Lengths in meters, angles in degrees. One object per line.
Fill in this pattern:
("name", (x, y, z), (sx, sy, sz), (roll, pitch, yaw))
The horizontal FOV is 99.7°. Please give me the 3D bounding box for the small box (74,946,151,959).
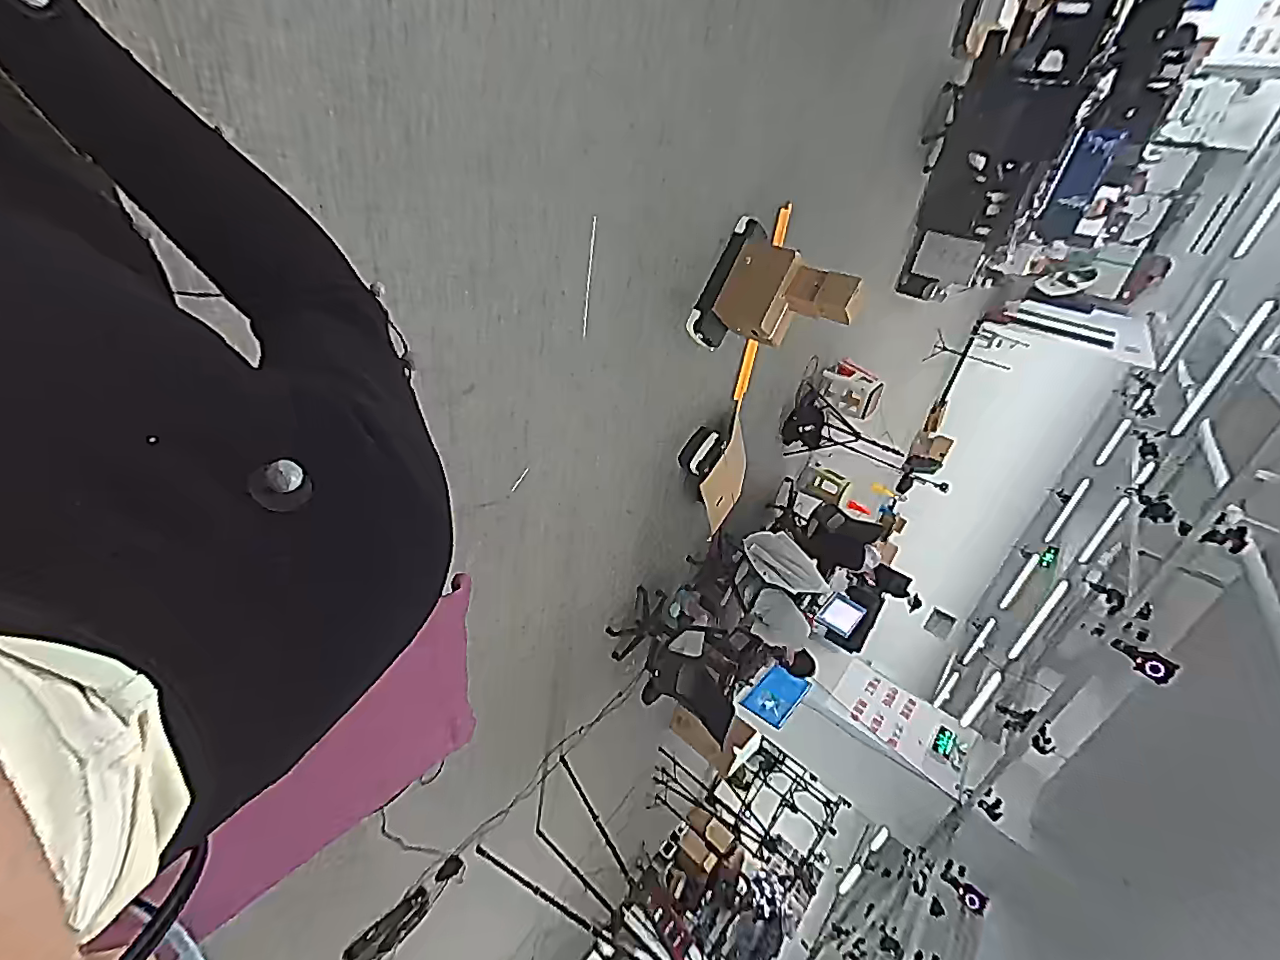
("small box", (-1.012, 0.995, 0.967), (0.168, 0.176, 0.179), (-52, 150, -16))
